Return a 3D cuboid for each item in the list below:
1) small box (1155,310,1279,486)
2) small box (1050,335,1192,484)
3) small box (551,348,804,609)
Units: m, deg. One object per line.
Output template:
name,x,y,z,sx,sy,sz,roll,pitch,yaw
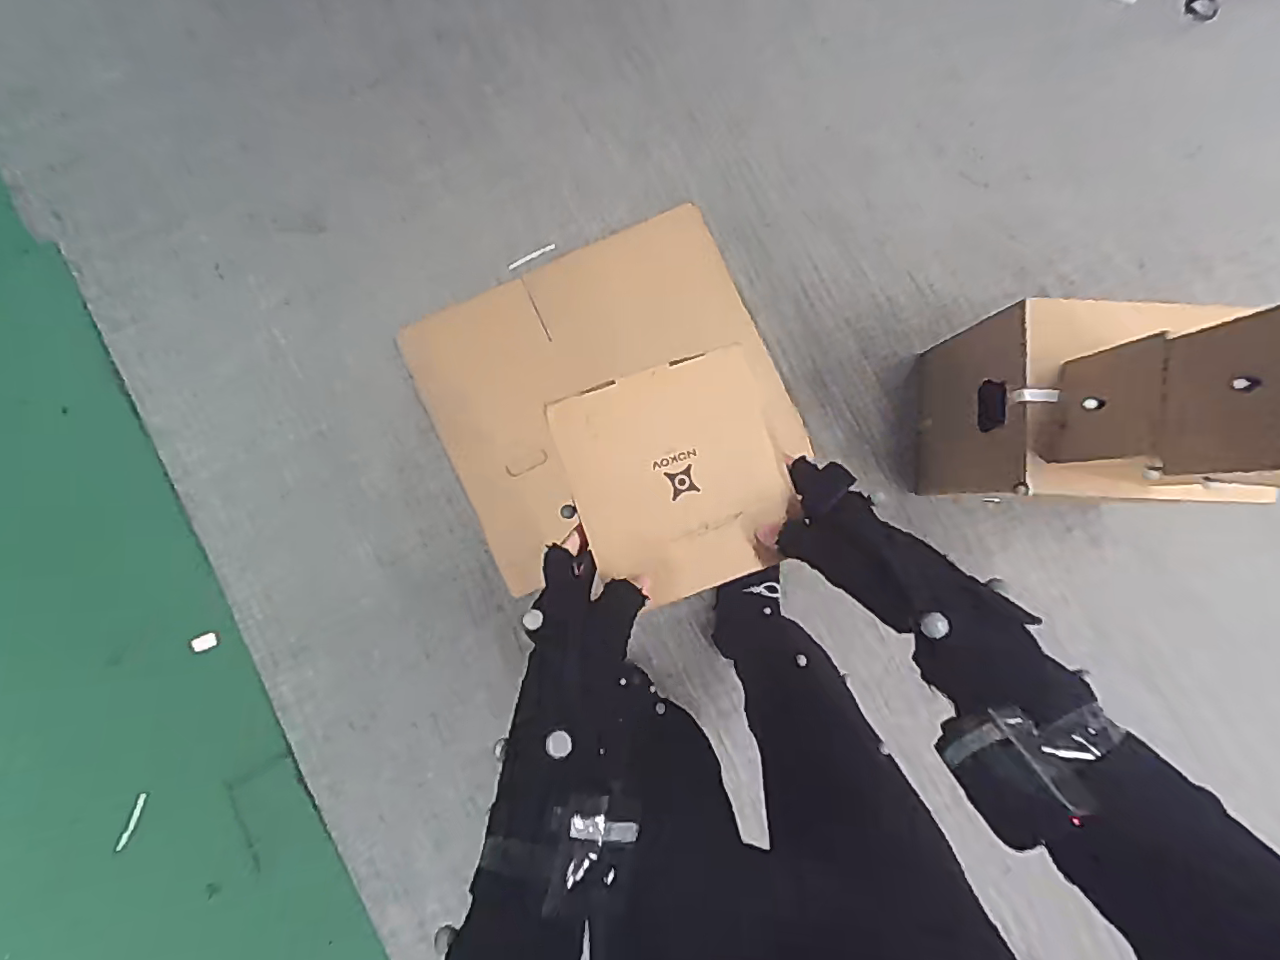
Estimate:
small box,0.722,-0.082,0.594,0.168,0.176,0.179,2,89,0
small box,0.723,-0.088,0.761,0.179,0.176,0.168,7,86,-1
small box,0.024,0.003,0.517,0.168,0.176,0.179,-20,88,-5
